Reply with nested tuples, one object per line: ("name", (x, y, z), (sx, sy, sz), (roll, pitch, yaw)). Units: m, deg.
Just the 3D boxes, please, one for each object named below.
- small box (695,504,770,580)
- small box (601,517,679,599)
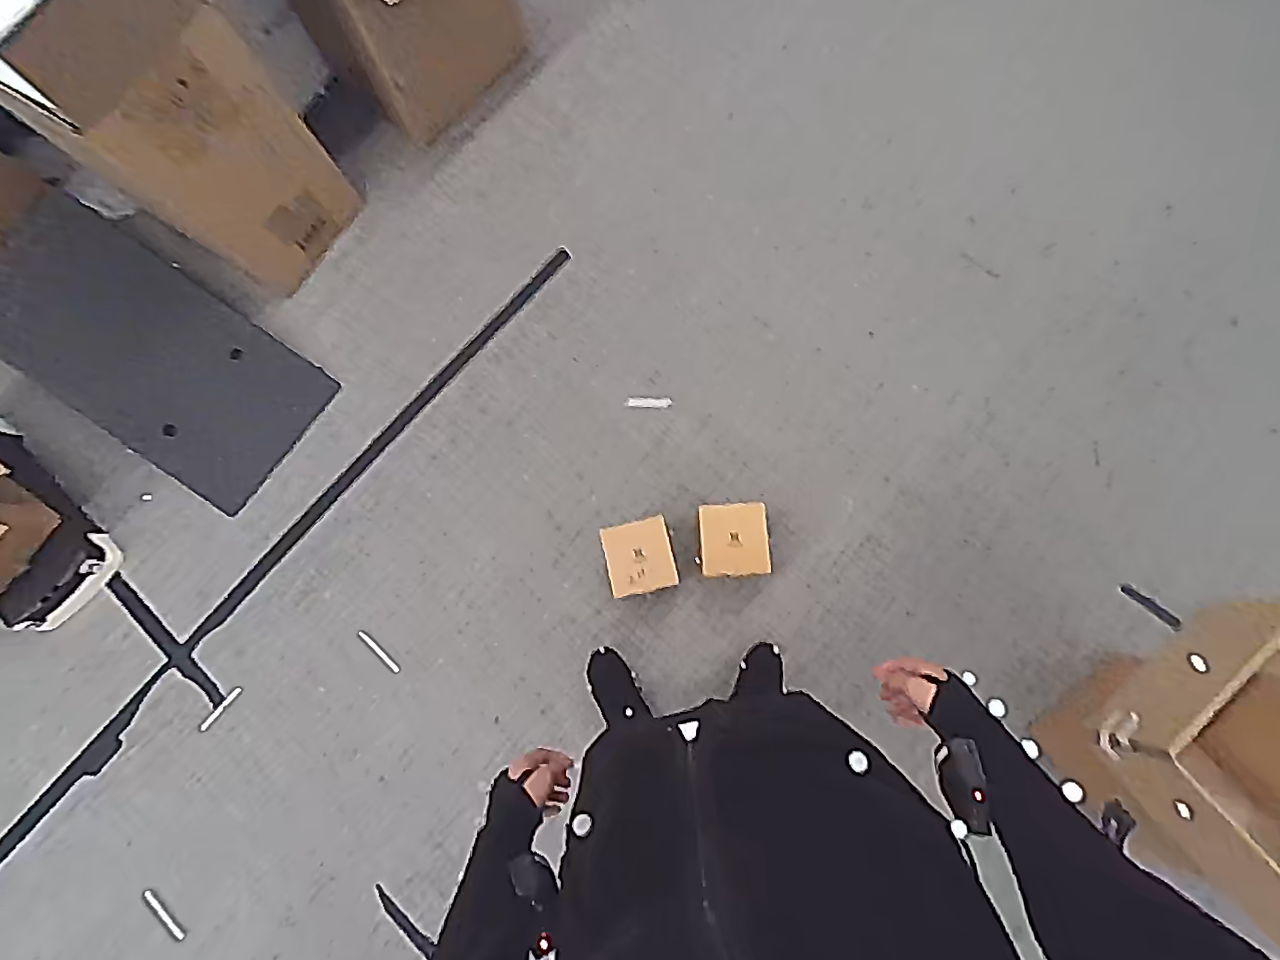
("small box", (0.234, 0.166, 1.409), (0.168, 0.176, 0.179), (-4, 78, 2))
("small box", (0.000, 0.209, 1.408), (0.168, 0.176, 0.179), (-14, 78, 0))
